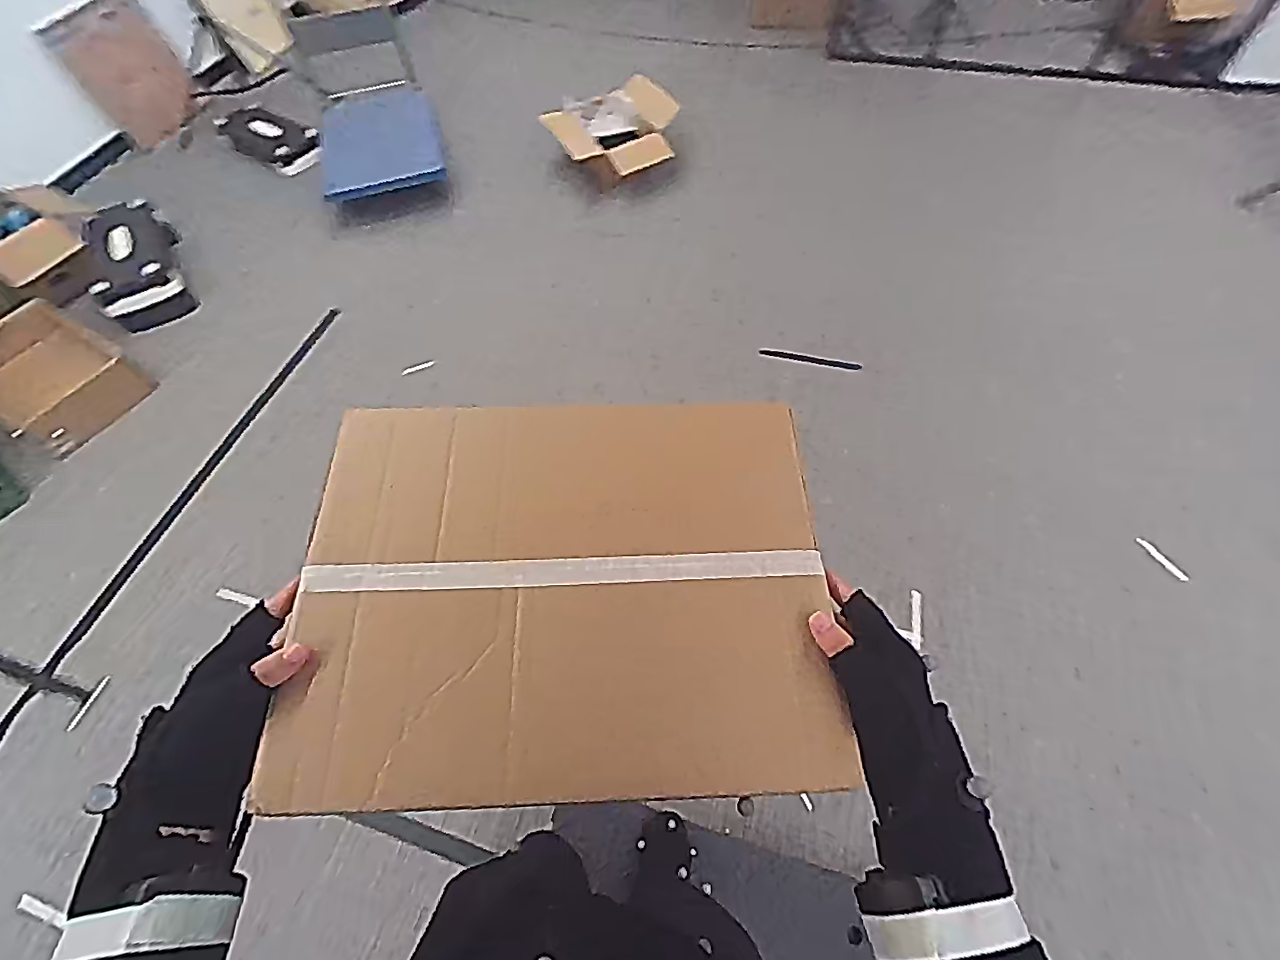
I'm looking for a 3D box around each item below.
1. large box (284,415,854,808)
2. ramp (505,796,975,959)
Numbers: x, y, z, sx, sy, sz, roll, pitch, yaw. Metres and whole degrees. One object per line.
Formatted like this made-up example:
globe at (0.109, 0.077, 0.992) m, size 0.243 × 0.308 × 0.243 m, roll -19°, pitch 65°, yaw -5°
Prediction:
large box at (-0.052, 0.145, 0.571) m, size 0.408 × 0.320 × 0.320 m, roll -1°, pitch 63°, yaw -2°
ramp at (0.227, 1.041, 1.138) m, size 0.991 × 0.206 × 0.509 m, roll 12°, pitch 60°, yaw 9°
